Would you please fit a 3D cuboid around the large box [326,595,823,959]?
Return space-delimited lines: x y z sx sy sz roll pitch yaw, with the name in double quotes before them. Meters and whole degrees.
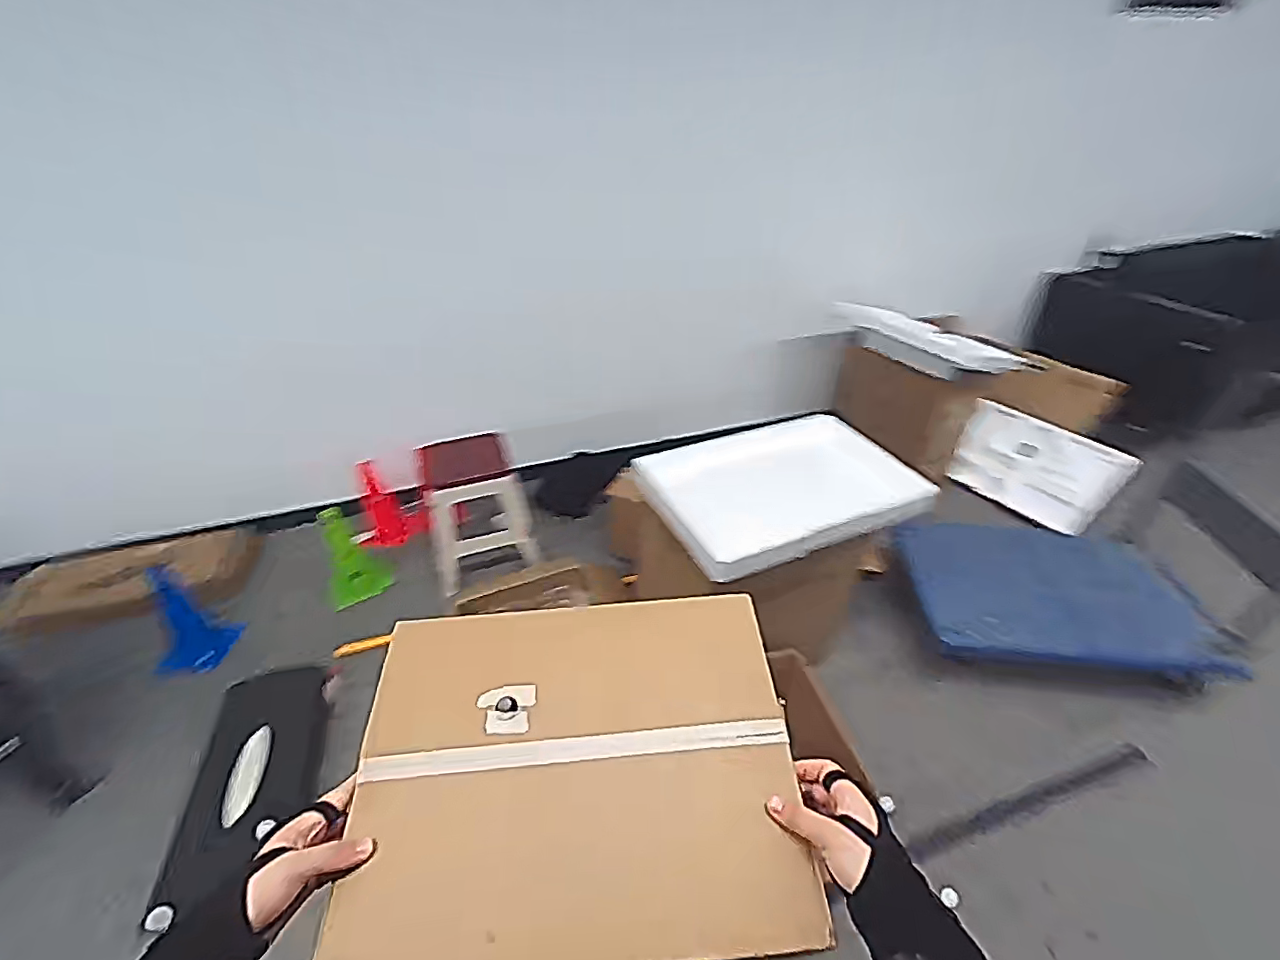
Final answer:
"large box" -0.058 0.368 0.628 0.408 0.320 0.320 -7 46 -2
